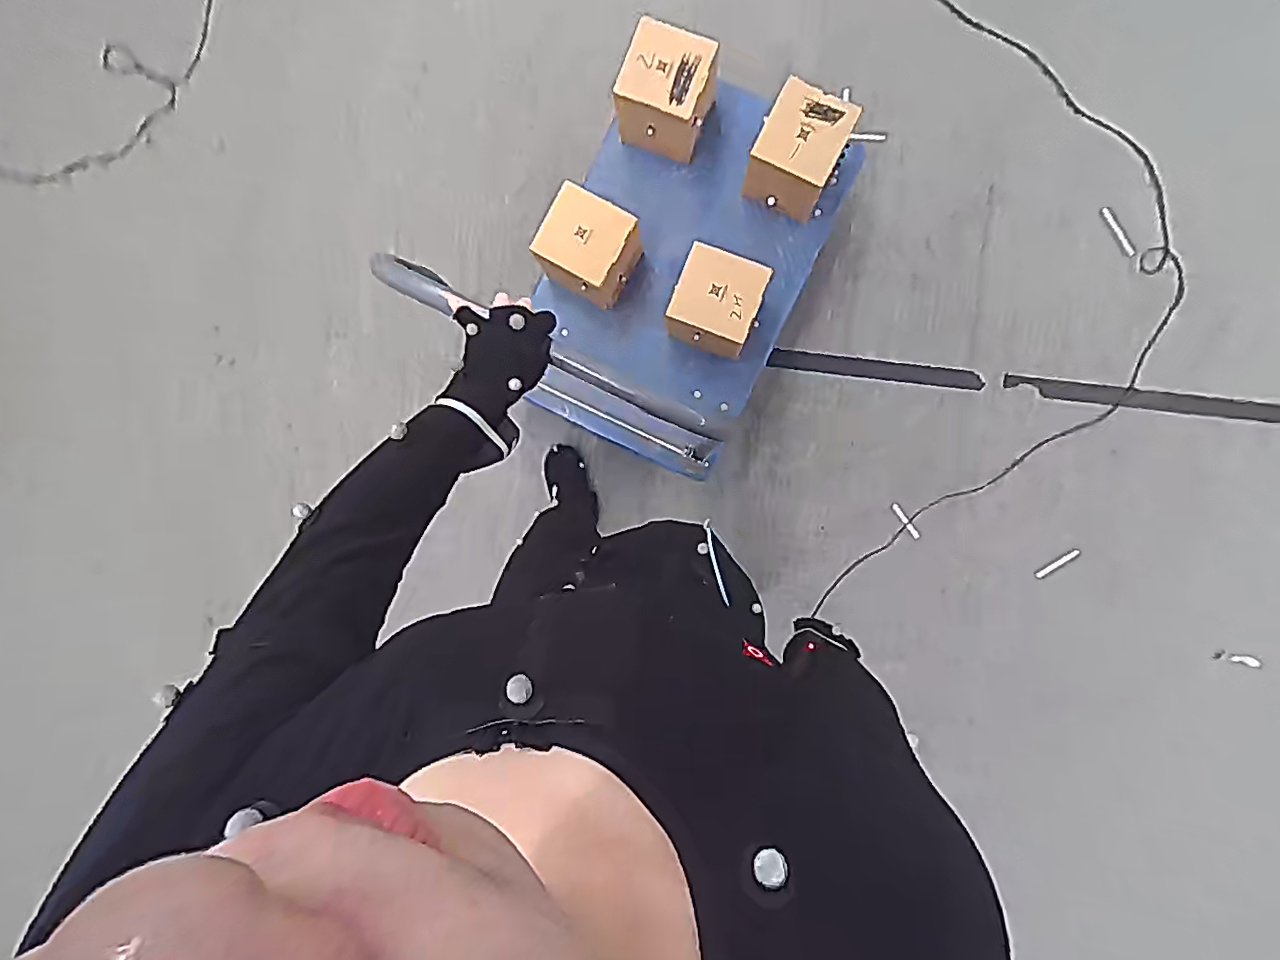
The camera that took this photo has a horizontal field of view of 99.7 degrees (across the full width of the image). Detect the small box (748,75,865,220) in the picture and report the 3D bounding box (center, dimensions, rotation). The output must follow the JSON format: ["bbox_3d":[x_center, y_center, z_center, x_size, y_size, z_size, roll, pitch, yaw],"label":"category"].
[{"bbox_3d":[0.346,-0.706,1.169,0.168,0.176,0.179,28,94,3],"label":"small box"}]

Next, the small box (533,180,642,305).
[{"bbox_3d":[-0.109,-0.517,1.206,0.179,0.176,0.168,29,92,2],"label":"small box"}]

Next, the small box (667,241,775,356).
[{"bbox_3d":[0.171,-0.387,1.187,0.179,0.176,0.168,22,93,4],"label":"small box"}]
